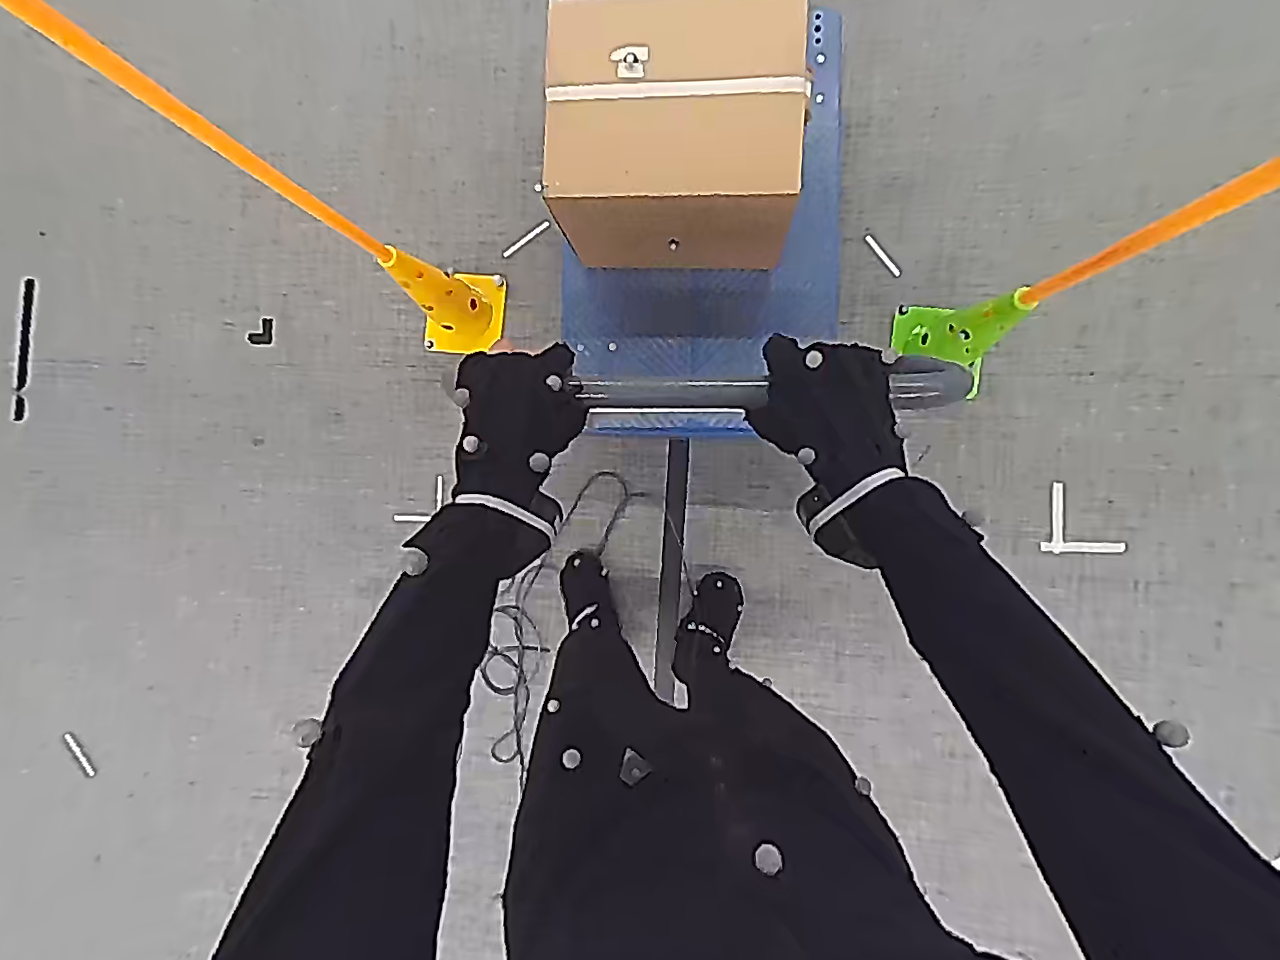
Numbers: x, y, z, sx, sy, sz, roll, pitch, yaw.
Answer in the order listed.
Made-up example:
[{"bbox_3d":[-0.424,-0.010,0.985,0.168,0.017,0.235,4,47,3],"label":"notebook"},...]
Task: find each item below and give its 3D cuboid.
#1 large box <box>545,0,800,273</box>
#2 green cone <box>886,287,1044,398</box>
[{"bbox_3d":[0.066,-0.588,0.997,0.408,0.320,0.320,2,91,7],"label":"large box"},{"bbox_3d":[0.658,-0.295,1.070,0.202,0.368,0.200,7,90,5],"label":"green cone"}]
